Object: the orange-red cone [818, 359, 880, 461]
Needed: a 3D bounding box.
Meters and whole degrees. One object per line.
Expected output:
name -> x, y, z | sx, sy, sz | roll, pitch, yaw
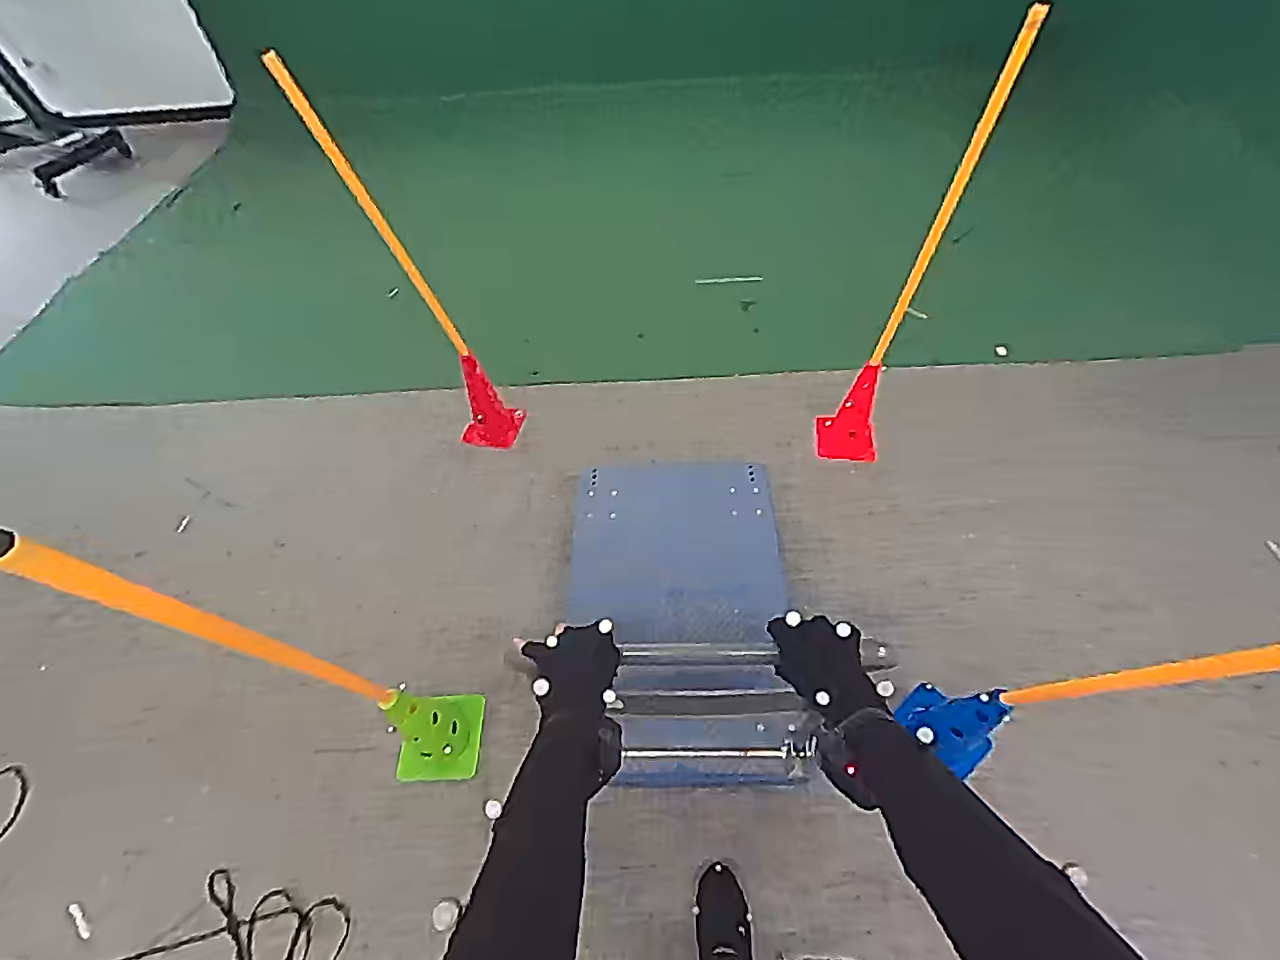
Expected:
orange-red cone -> 0.729, -0.253, 1.795 | 0.198, 0.360, 0.199 | 7, 55, 9
